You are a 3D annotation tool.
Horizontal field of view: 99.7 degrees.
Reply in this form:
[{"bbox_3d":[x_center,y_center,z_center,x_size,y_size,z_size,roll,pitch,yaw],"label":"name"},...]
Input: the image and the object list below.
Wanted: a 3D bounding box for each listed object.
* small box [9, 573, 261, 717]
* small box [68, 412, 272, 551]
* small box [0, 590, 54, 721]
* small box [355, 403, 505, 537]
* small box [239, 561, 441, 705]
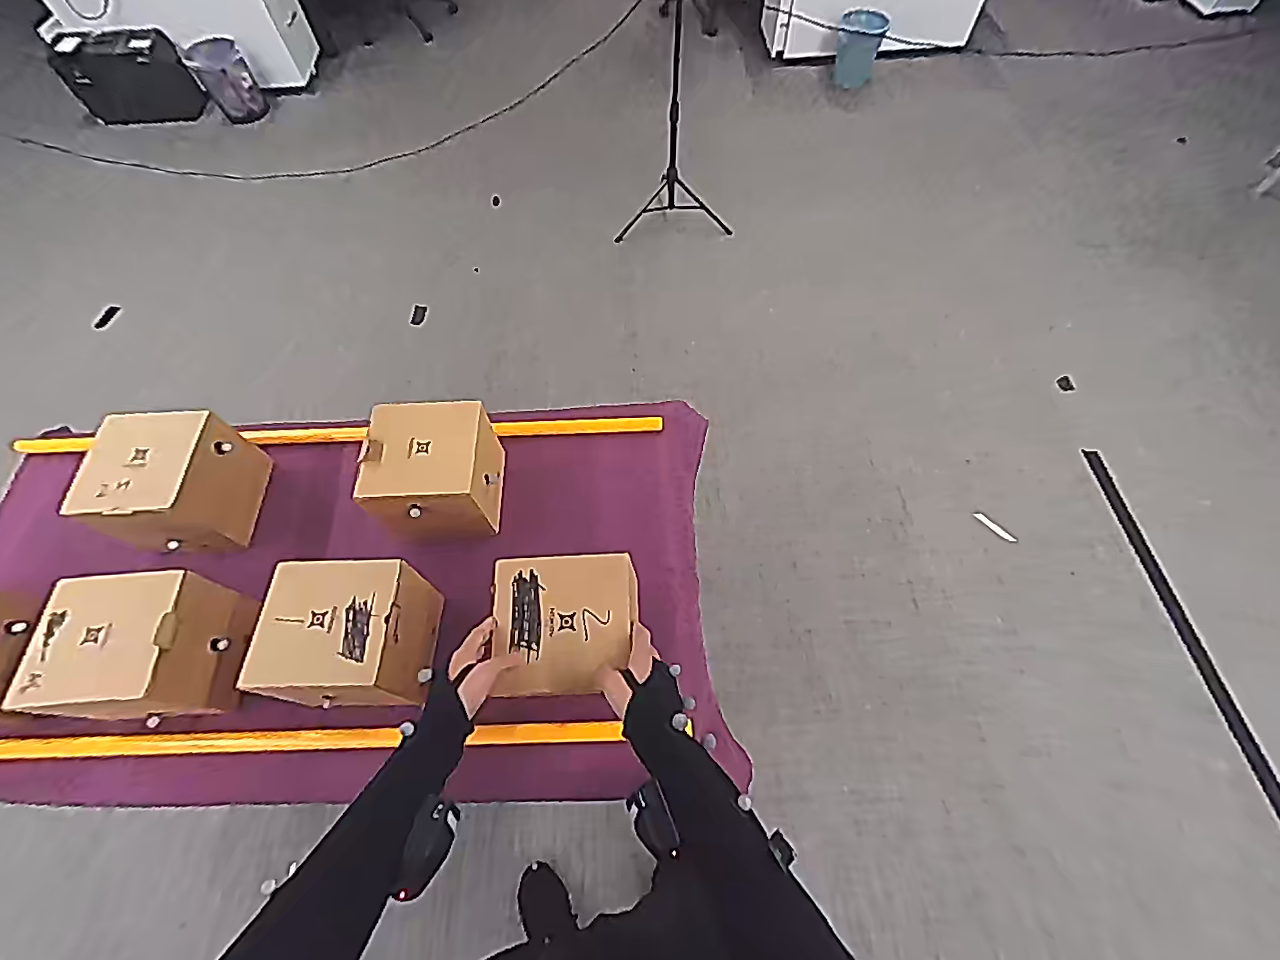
[{"bbox_3d":[-0.689,0.239,0.769,0.179,0.176,0.168,-3,61,-1],"label":"small box"},{"bbox_3d":[-0.754,0.007,0.896,0.168,0.176,0.179,-2,63,1],"label":"small box"},{"bbox_3d":[-0.984,0.250,0.769,0.179,0.176,0.168,-2,61,-2],"label":"small box"},{"bbox_3d":[-0.331,-0.011,0.895,0.179,0.176,0.168,-3,63,1],"label":"small box"},{"bbox_3d":[-0.404,0.221,0.770,0.179,0.176,0.168,-1,60,2],"label":"small box"}]
